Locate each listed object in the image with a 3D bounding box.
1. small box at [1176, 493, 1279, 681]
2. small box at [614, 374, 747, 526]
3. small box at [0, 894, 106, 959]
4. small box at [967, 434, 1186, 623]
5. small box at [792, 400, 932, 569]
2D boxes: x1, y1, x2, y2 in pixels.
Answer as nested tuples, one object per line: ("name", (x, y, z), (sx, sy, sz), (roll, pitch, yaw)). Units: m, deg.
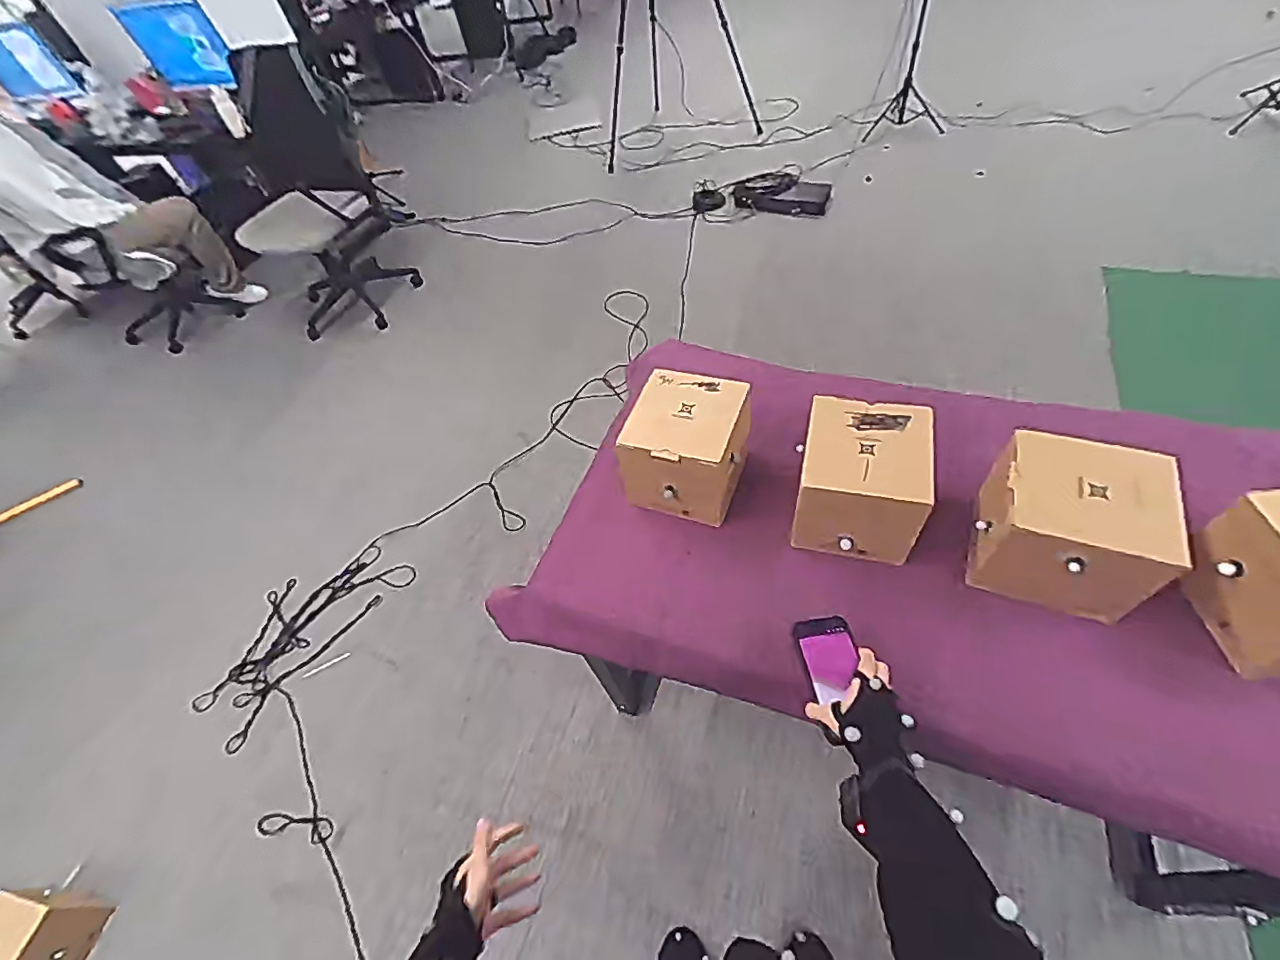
("small box", (0.797, 0.126, 0.631), (0.179, 0.176, 0.168), (-5, 51, 6))
("small box", (0.078, -0.047, 0.899), (0.168, 0.176, 0.179), (13, 56, 20))
("small box", (-1.394, 1.057, 1.223), (0.179, 0.176, 0.168), (5, 53, 14))
("small box", (0.561, 0.068, 0.721), (0.179, 0.176, 0.168), (15, 57, 21))
("small box", (0.325, 0.007, 0.811), (0.168, 0.176, 0.179), (9, 55, 17))
